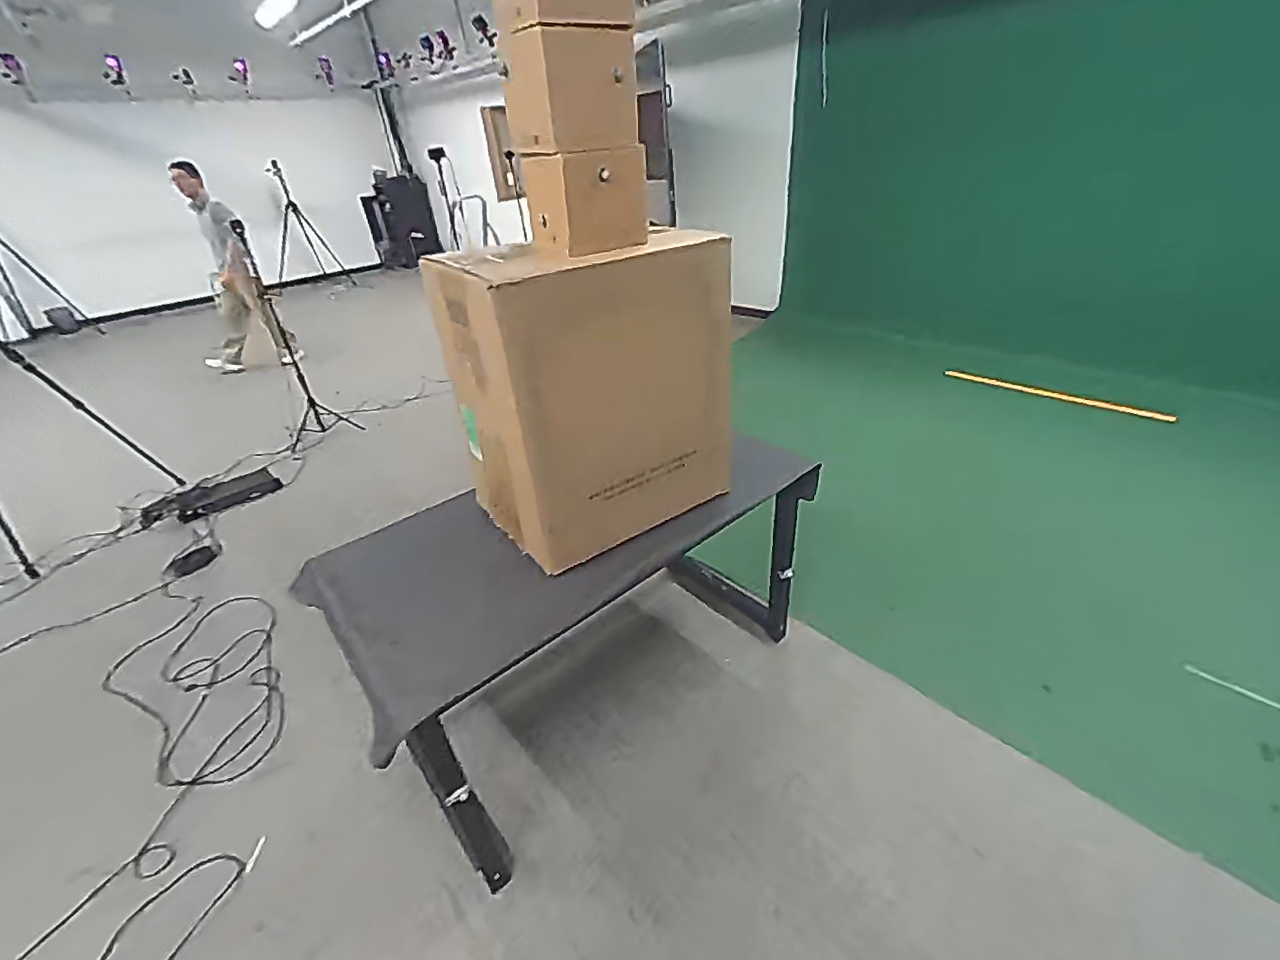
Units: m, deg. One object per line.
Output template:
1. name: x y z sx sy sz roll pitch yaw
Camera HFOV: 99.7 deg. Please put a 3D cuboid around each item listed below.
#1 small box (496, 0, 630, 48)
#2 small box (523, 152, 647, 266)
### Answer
1. small box: -0.126 -0.793 0.847 0.179 0.176 0.168 -22 37 -26
2. small box: -0.101 -0.520 1.029 0.179 0.176 0.168 -23 39 -27
